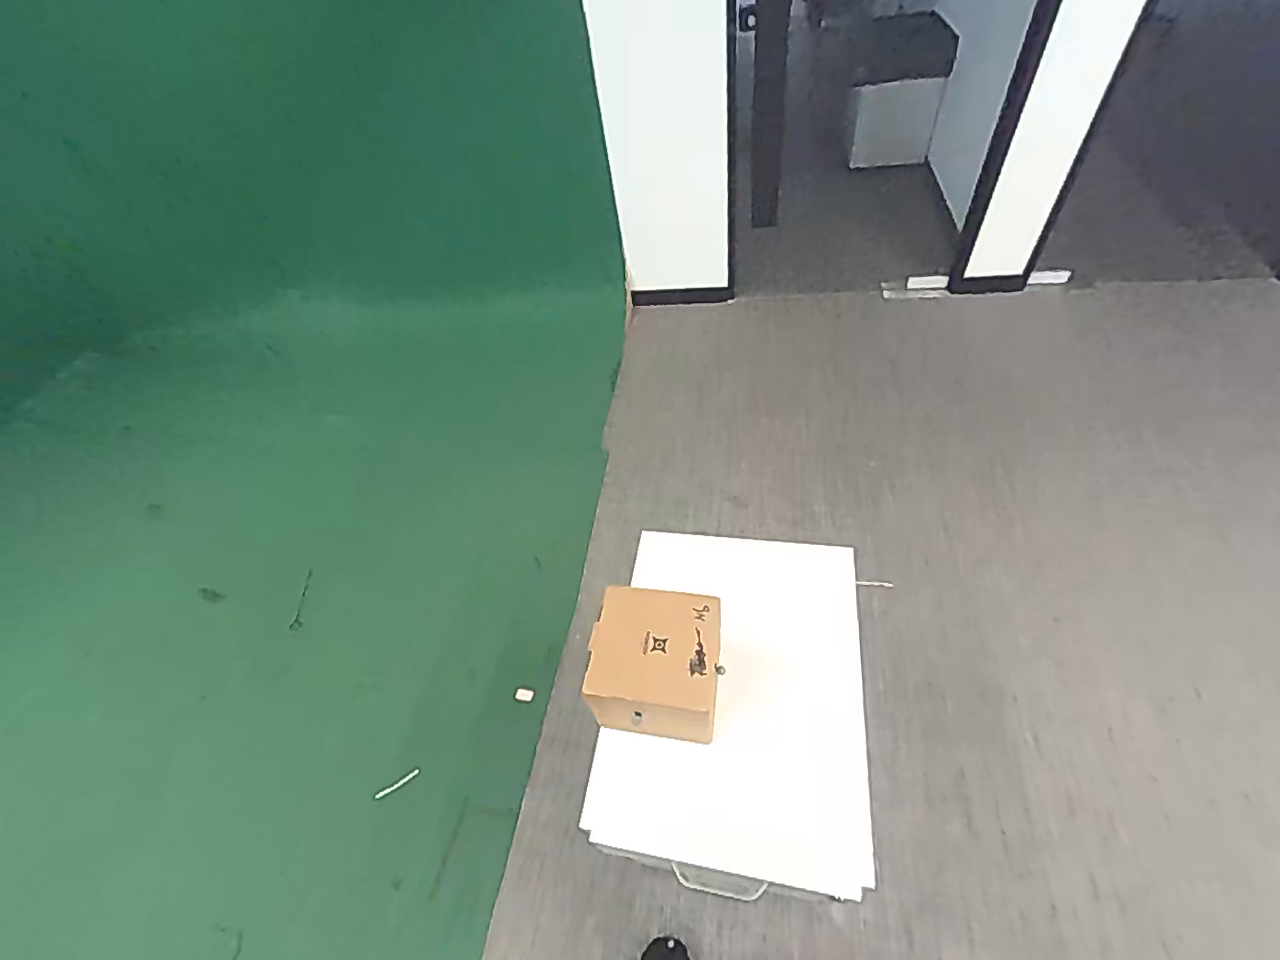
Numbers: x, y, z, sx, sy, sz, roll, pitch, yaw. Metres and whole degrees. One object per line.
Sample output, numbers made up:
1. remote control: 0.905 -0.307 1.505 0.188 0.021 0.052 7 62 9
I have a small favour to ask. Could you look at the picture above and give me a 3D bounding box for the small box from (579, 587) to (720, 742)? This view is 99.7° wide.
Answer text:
1. small box: 0.026 0.279 0.814 0.179 0.176 0.168 4 52 12
